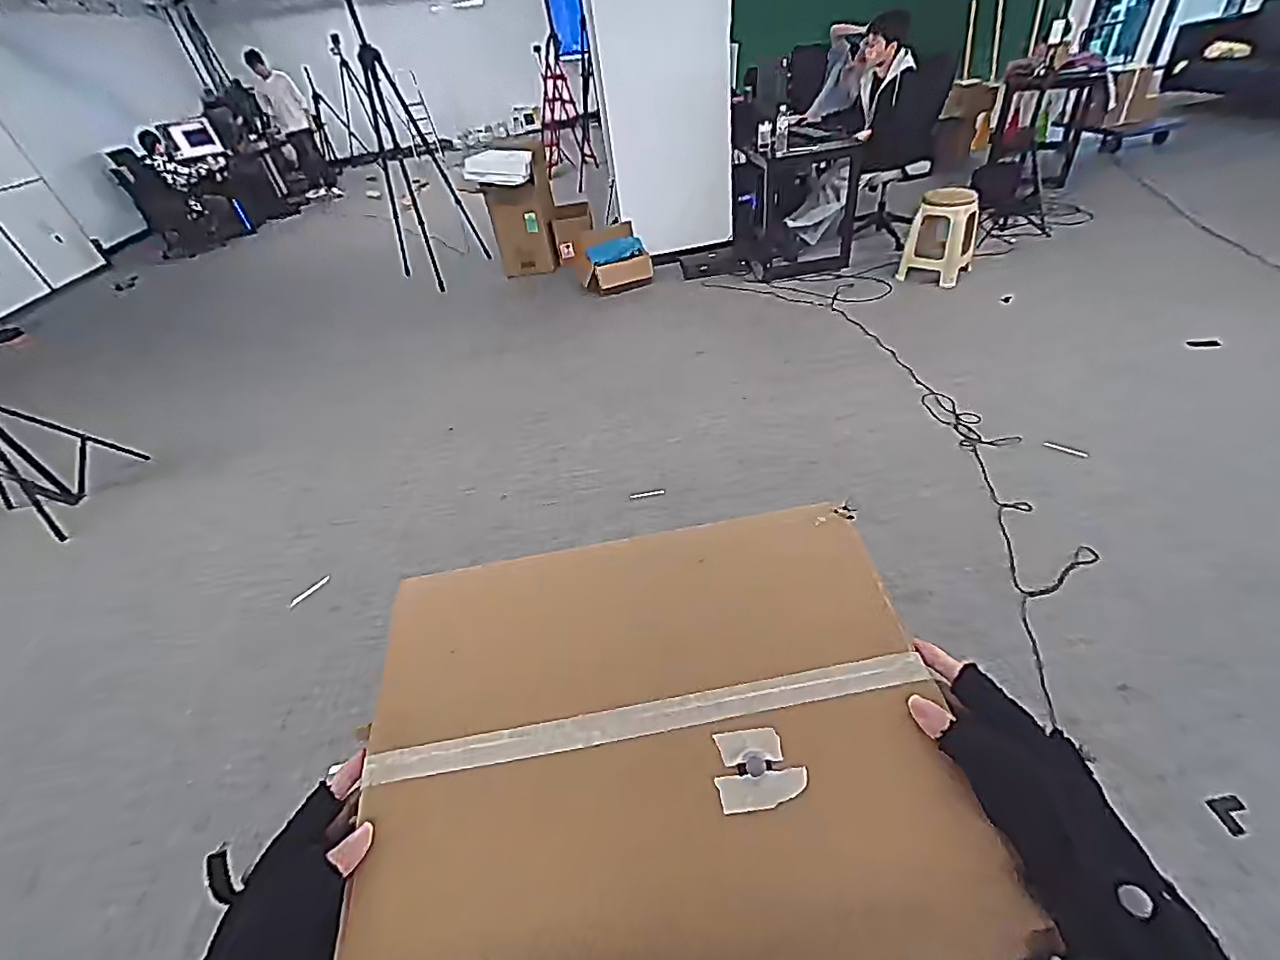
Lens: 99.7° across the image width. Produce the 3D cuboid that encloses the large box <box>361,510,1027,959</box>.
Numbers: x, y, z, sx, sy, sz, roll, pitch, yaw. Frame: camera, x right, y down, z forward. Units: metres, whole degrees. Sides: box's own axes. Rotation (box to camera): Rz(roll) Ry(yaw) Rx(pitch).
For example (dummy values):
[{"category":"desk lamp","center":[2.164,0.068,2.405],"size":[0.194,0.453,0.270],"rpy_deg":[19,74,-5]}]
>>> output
[{"category":"large box","center":[0.022,0.273,0.514],"size":[0.408,0.320,0.320],"rpy_deg":[-10,50,-1]}]
